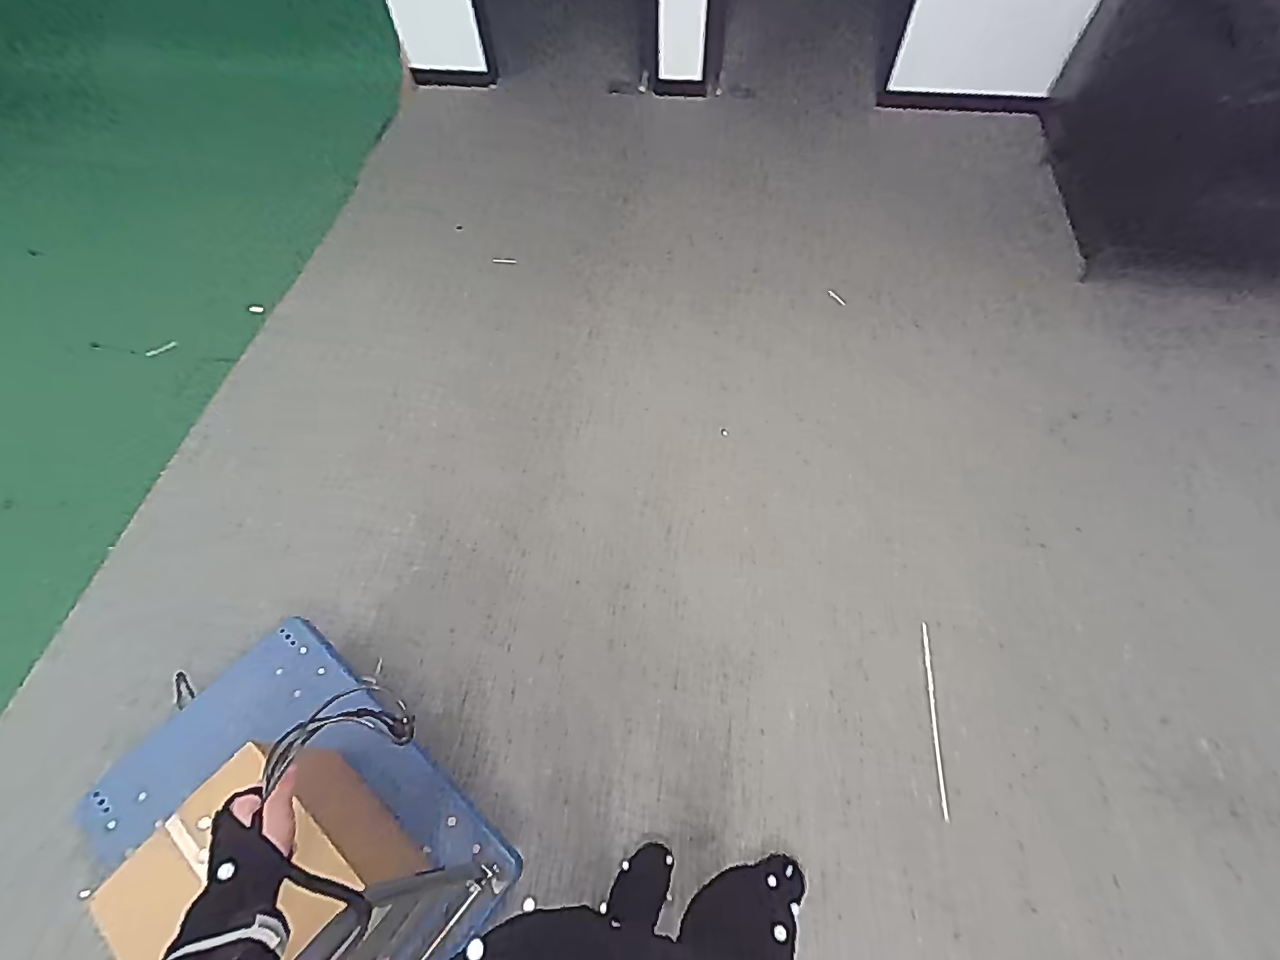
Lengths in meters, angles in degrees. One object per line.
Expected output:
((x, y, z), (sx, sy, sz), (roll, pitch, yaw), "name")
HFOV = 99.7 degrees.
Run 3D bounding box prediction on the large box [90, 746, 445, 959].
((-0.653, 0.770, 1.008), (0.408, 0.320, 0.320), (34, 67, 20), "large box")
